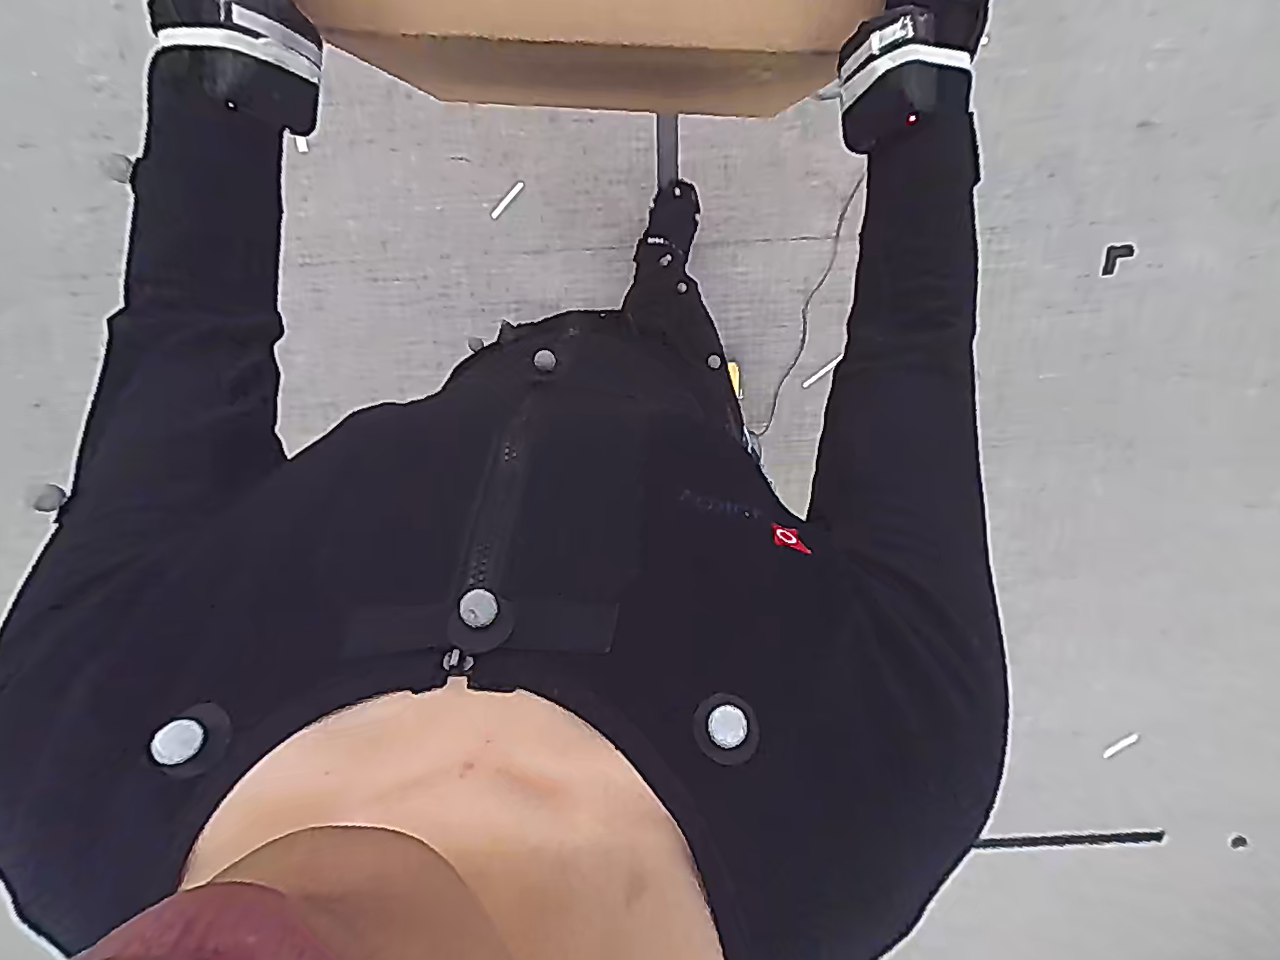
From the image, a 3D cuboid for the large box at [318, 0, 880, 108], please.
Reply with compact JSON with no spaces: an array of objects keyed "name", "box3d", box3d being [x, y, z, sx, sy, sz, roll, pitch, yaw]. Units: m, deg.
[{"name":"large box","box3d":[-0.031,-0.523,0.453,0.408,0.320,0.320,0,118,-3]}]
